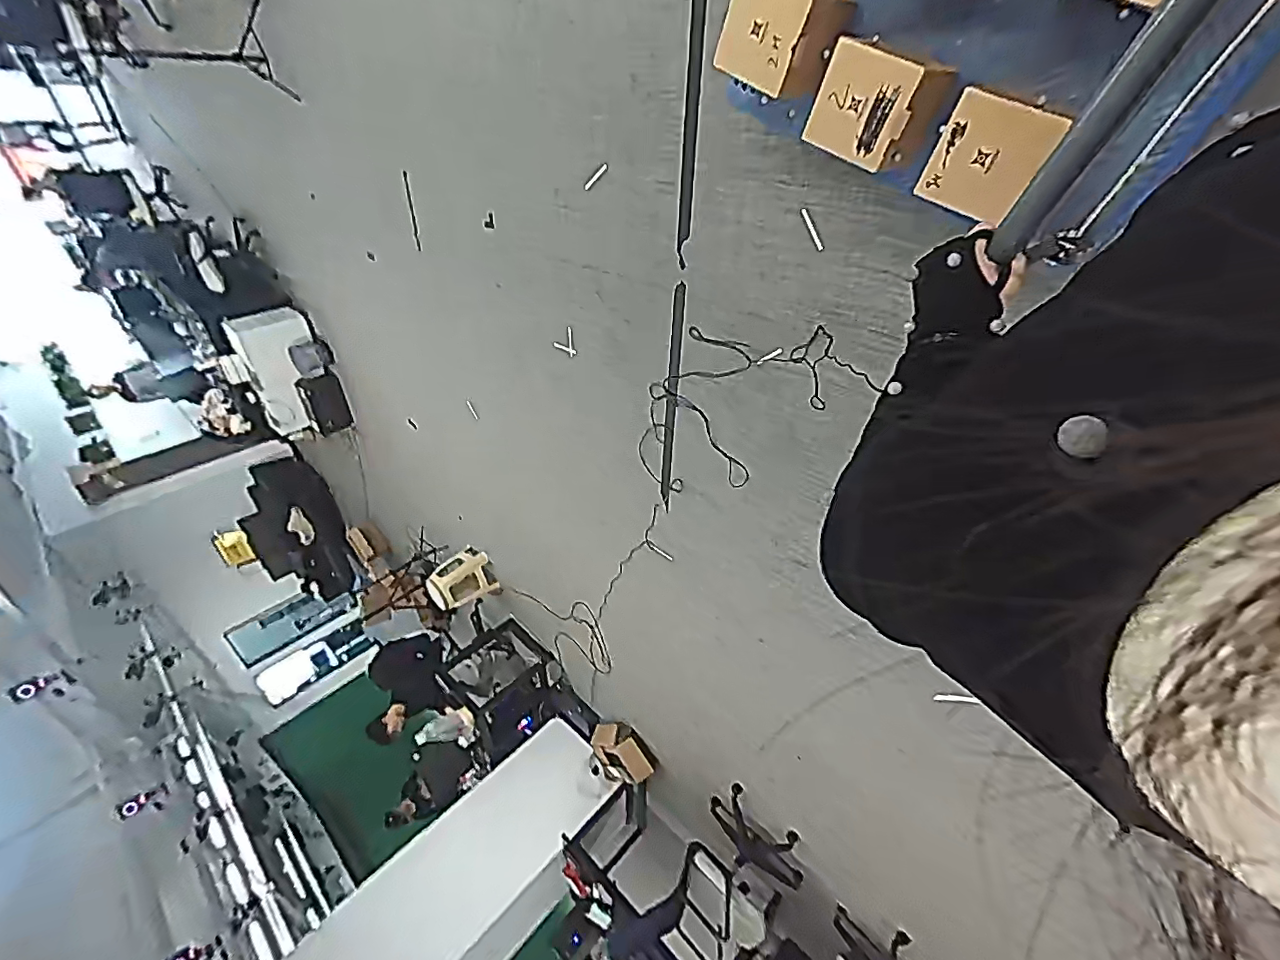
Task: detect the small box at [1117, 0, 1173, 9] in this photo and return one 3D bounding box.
[{"bbox_3d":[0.691,-0.764,0.726,0.179,0.176,0.168,42,140,20],"label":"small box"}]

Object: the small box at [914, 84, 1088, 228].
[{"bbox_3d":[0.627,-0.567,0.939,0.179,0.176,0.168,39,139,23],"label":"small box"}]

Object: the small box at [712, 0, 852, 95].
[{"bbox_3d":[0.283,-0.898,1.083,0.179,0.176,0.168,42,141,18],"label":"small box"}]
